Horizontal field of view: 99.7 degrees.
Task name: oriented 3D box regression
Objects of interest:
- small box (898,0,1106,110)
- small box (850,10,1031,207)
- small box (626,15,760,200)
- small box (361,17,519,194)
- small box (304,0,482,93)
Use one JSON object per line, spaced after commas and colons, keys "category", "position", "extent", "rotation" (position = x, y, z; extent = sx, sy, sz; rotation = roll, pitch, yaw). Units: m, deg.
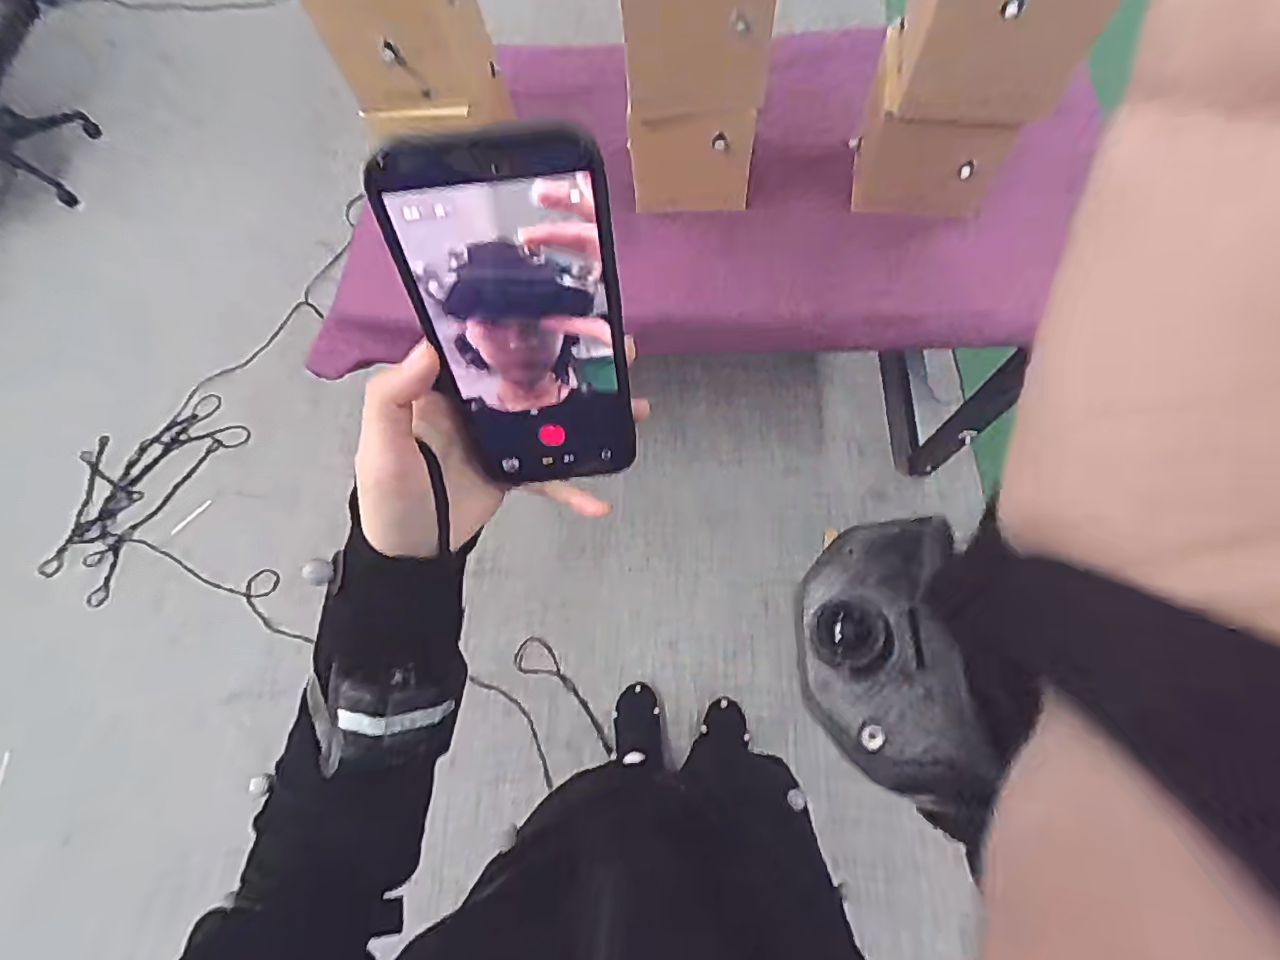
{"category": "small box", "position": [0.410, -0.556, 0.612], "extent": [0.179, 0.176, 0.168], "rotation": [8, 72, 8]}
{"category": "small box", "position": [0.418, -0.519, 0.772], "extent": [0.179, 0.176, 0.168], "rotation": [9, 72, 9]}
{"category": "small box", "position": [0.081, -0.548, 0.813], "extent": [0.179, 0.176, 0.168], "rotation": [3, 72, 7]}
{"category": "small box", "position": [-0.305, -0.585, 0.863], "extent": [0.168, 0.176, 0.179], "rotation": [3, 72, 7]}
{"category": "small box", "position": [-0.320, -0.645, 0.711], "extent": [0.168, 0.176, 0.179], "rotation": [-2, 72, 4]}
